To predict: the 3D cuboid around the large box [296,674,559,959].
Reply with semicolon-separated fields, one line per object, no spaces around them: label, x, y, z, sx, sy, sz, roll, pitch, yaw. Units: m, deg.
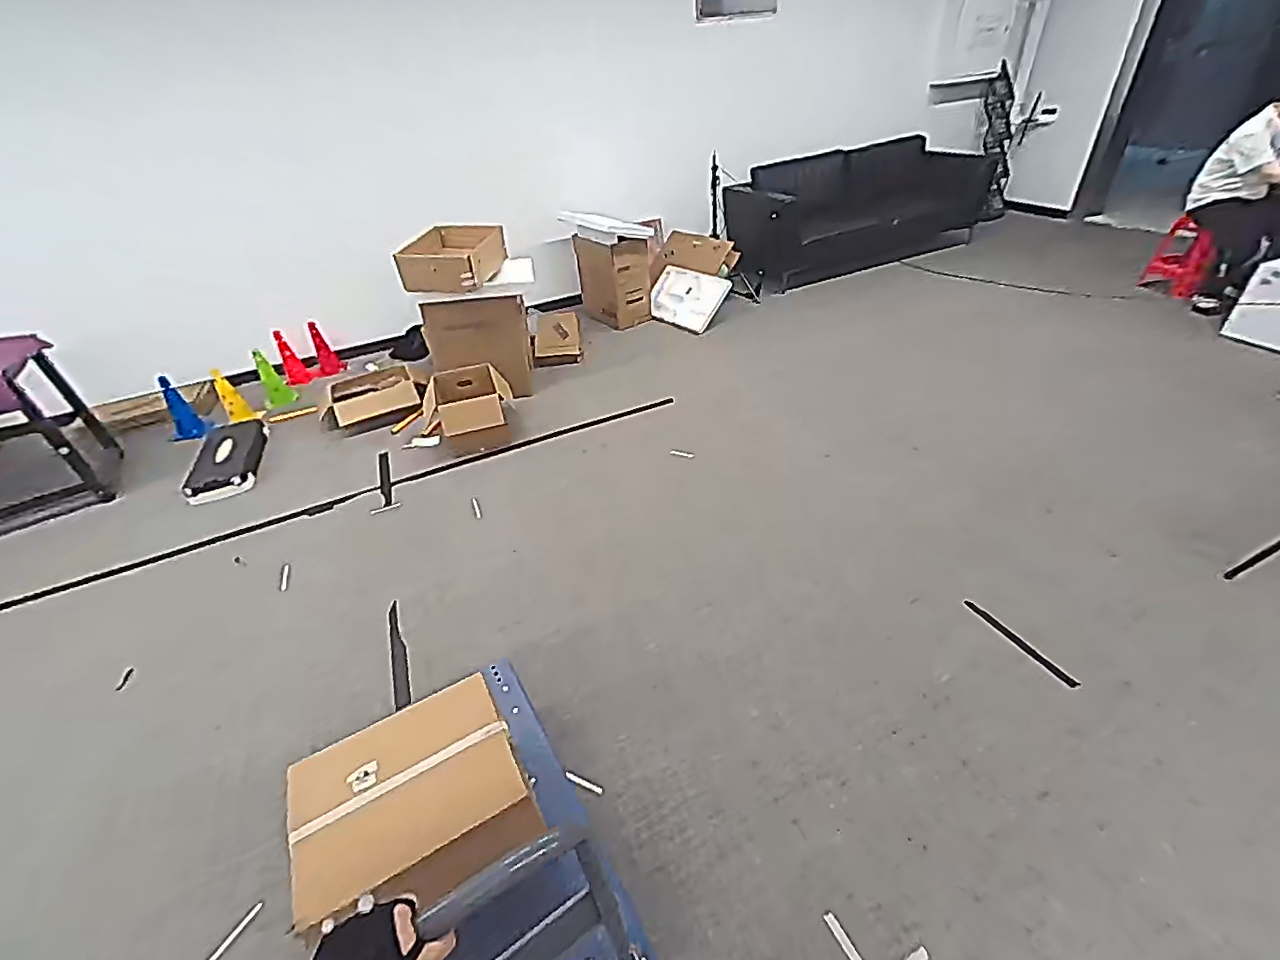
large box;-0.437;0.706;1.148;0.408;0.320;0.320;-24;39;-20
